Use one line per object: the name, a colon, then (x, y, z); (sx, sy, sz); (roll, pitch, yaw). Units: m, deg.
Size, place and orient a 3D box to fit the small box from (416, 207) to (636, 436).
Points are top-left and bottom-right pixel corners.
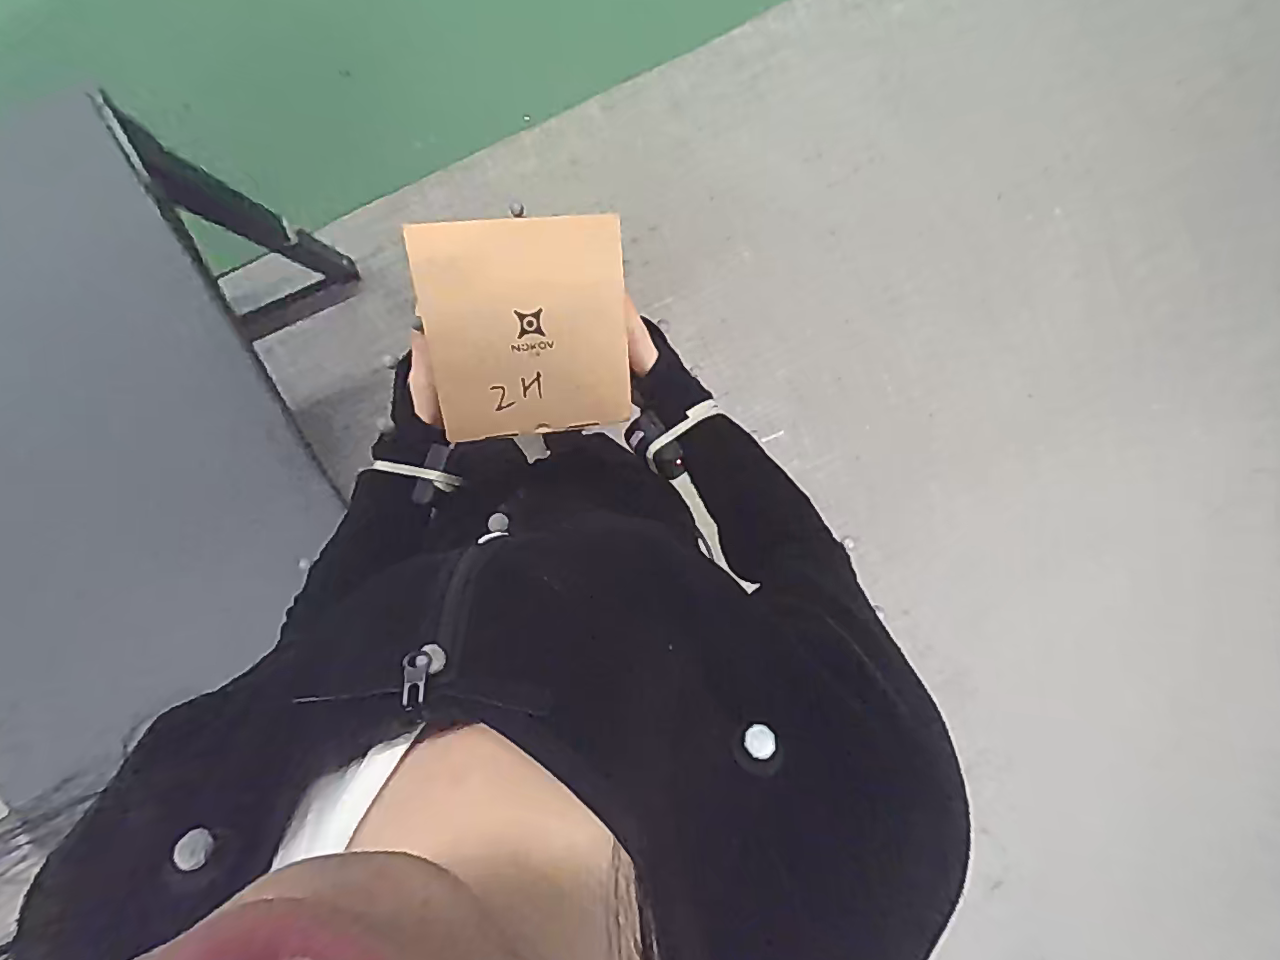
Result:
small box: (-0.104, -0.156, 0.515); (0.168, 0.176, 0.179); (-7, 115, -11)
